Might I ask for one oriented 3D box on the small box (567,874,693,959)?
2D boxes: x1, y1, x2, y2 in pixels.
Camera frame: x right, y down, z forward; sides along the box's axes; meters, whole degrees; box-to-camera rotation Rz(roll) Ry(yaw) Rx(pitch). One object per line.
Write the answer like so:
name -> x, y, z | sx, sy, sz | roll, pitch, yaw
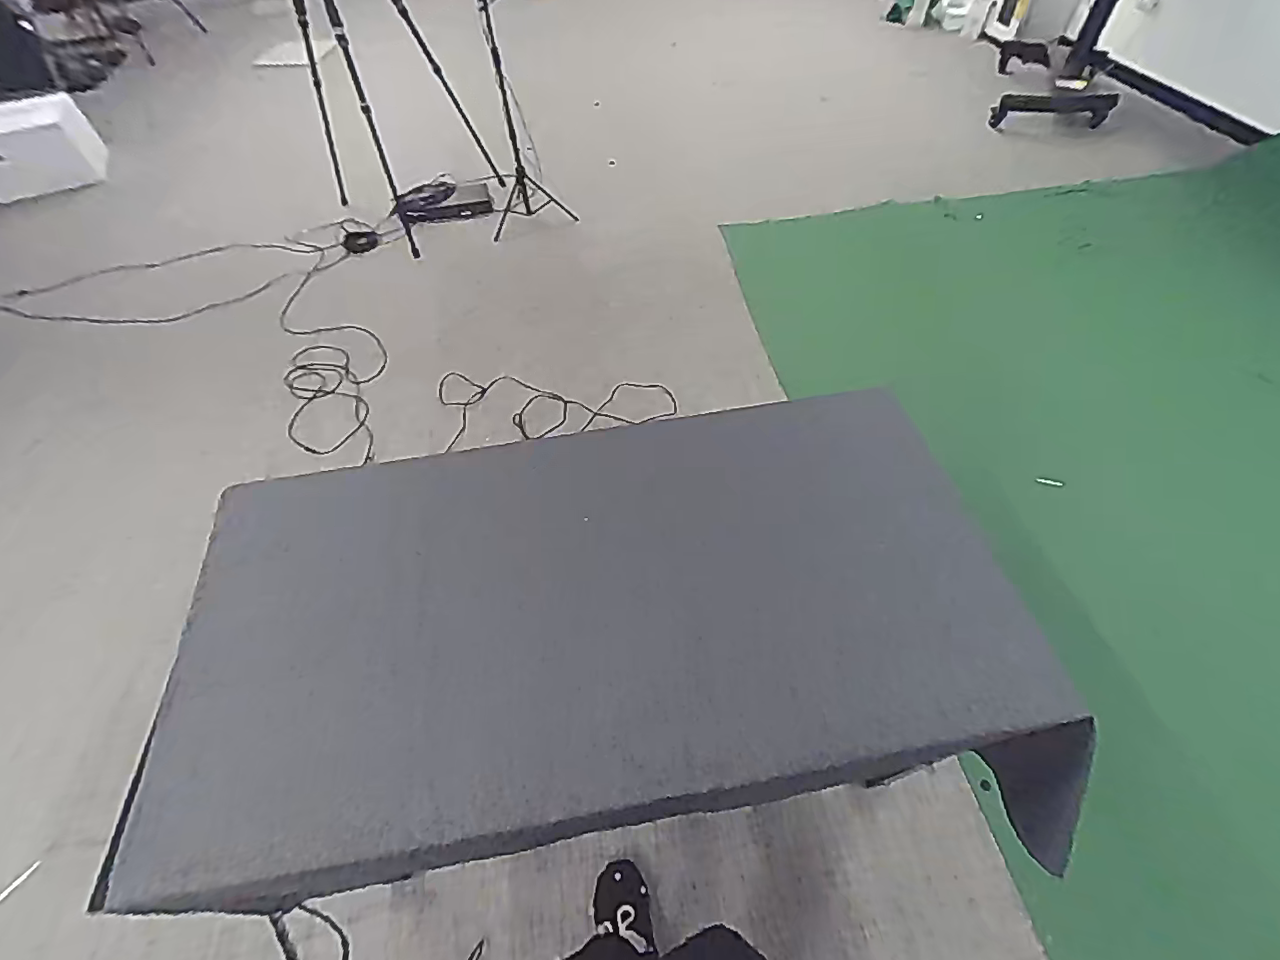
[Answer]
small box -> -0.023, 0.921, 1.074 | 0.179, 0.176, 0.168 | 13, 65, 33
